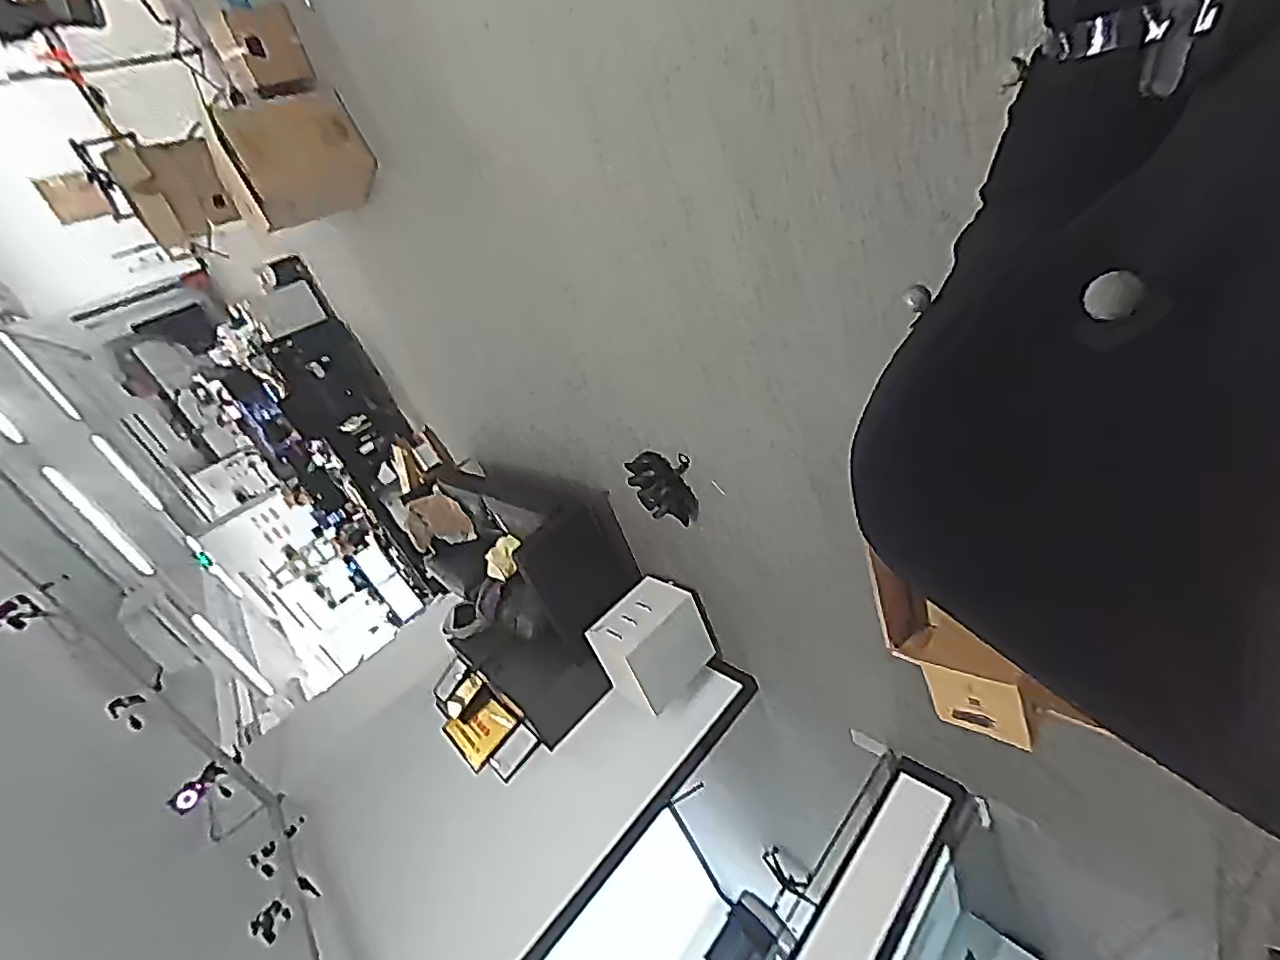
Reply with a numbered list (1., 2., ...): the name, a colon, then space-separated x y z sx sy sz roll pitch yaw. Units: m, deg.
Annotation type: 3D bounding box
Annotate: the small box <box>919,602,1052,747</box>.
1. small box: 0.683 0.372 1.063 0.168 0.176 0.179 2 125 51
